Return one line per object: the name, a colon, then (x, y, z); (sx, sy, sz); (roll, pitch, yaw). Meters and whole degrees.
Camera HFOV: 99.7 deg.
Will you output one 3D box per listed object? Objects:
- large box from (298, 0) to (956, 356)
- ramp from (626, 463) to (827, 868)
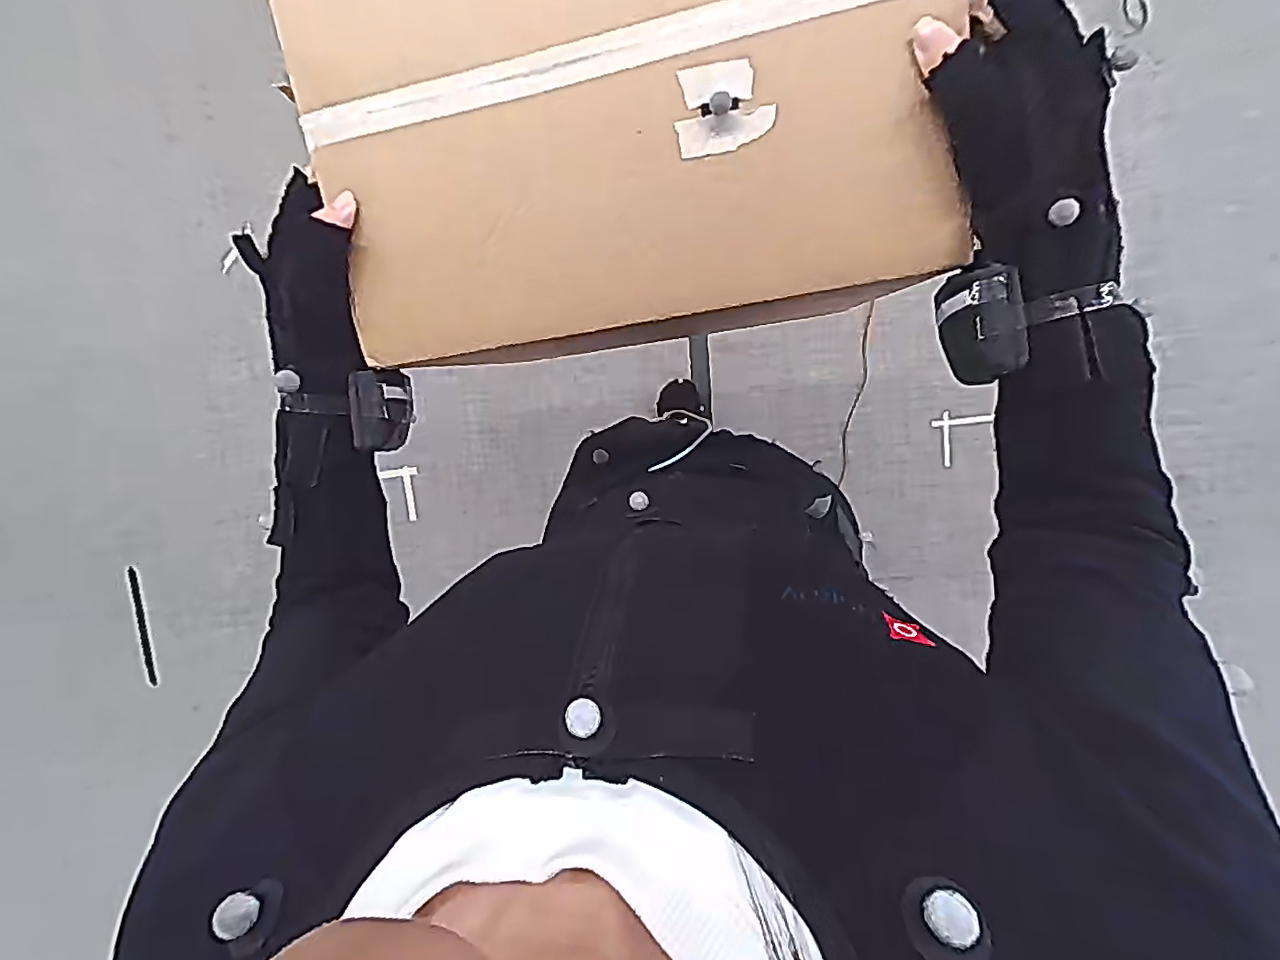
large box: (-0.003, -0.301, 0.486); (0.408, 0.320, 0.320); (-8, 102, 9)
ramp: (0.208, 0.458, 1.402); (0.509, 0.206, 0.991); (-3, 94, 10)
